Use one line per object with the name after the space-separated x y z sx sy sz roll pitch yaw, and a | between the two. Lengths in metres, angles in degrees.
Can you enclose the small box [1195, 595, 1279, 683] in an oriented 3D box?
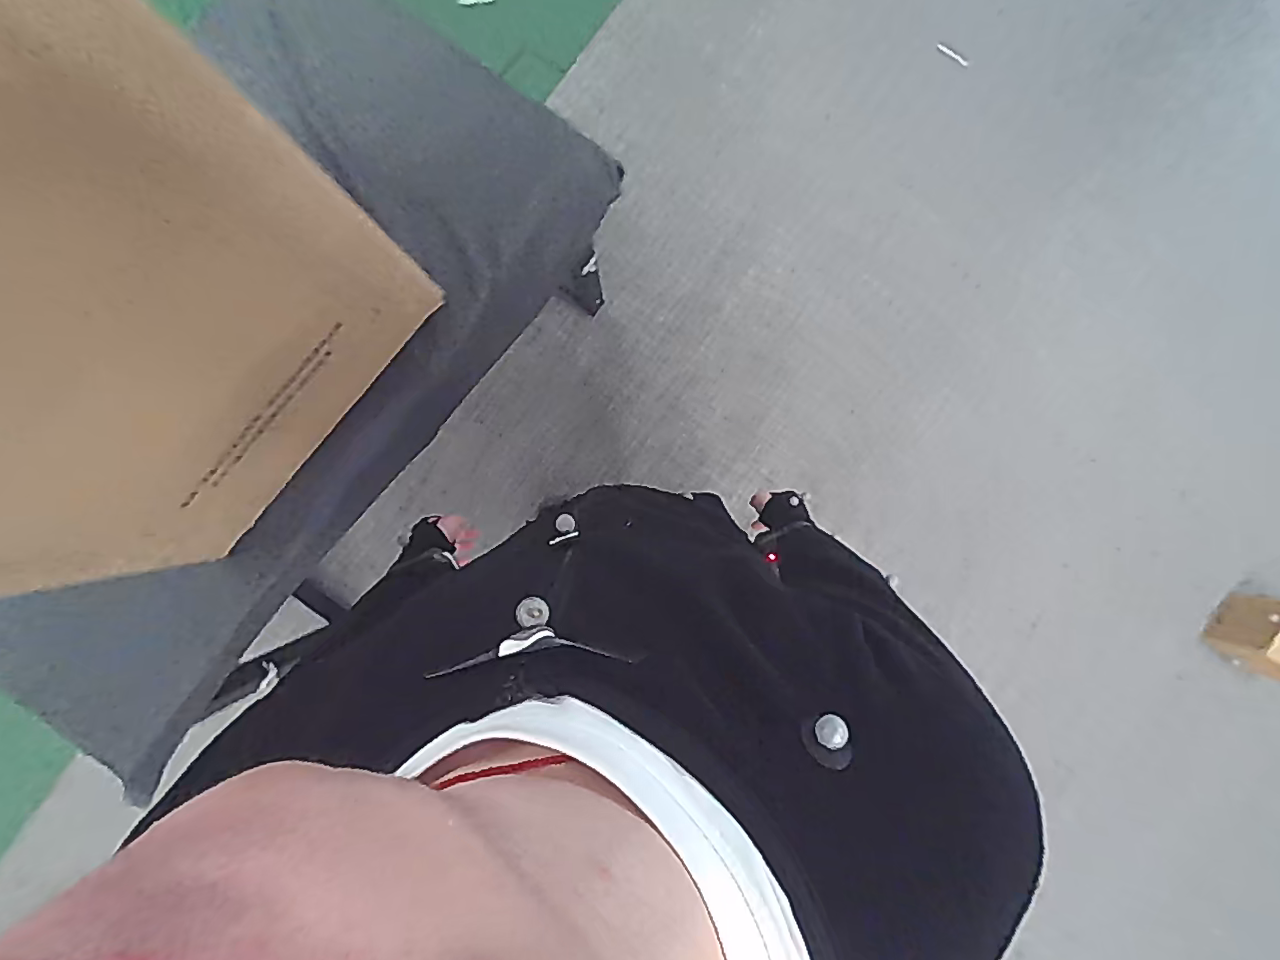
1.706 0.435 1.473 0.179 0.176 0.168 37 88 0 | small box
